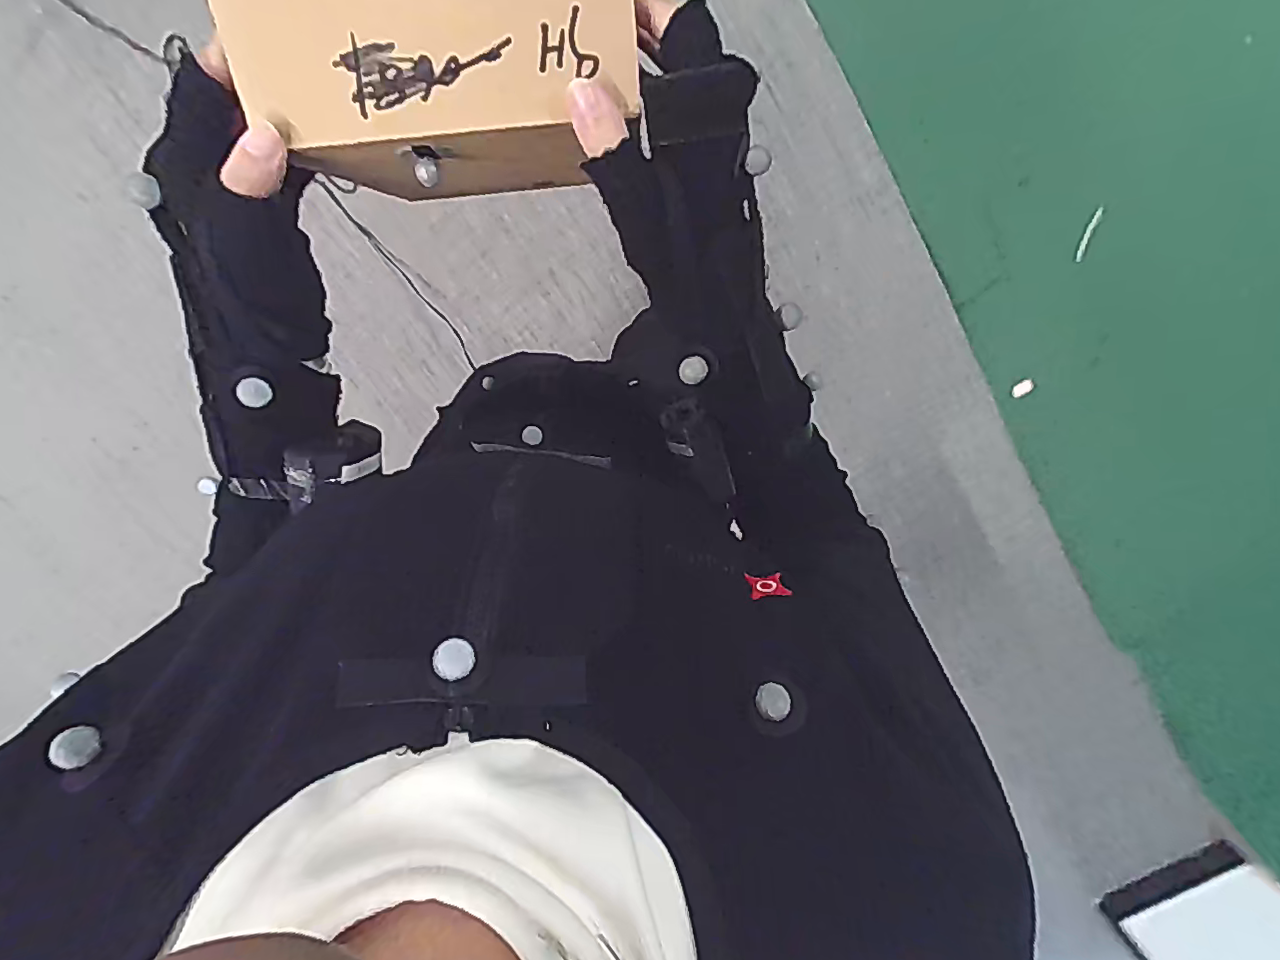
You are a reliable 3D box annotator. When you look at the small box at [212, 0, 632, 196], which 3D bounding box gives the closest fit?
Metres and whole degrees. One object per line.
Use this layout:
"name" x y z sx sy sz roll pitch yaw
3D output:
"small box" -0.095 -0.263 0.278 0.168 0.176 0.179 -6 110 1
